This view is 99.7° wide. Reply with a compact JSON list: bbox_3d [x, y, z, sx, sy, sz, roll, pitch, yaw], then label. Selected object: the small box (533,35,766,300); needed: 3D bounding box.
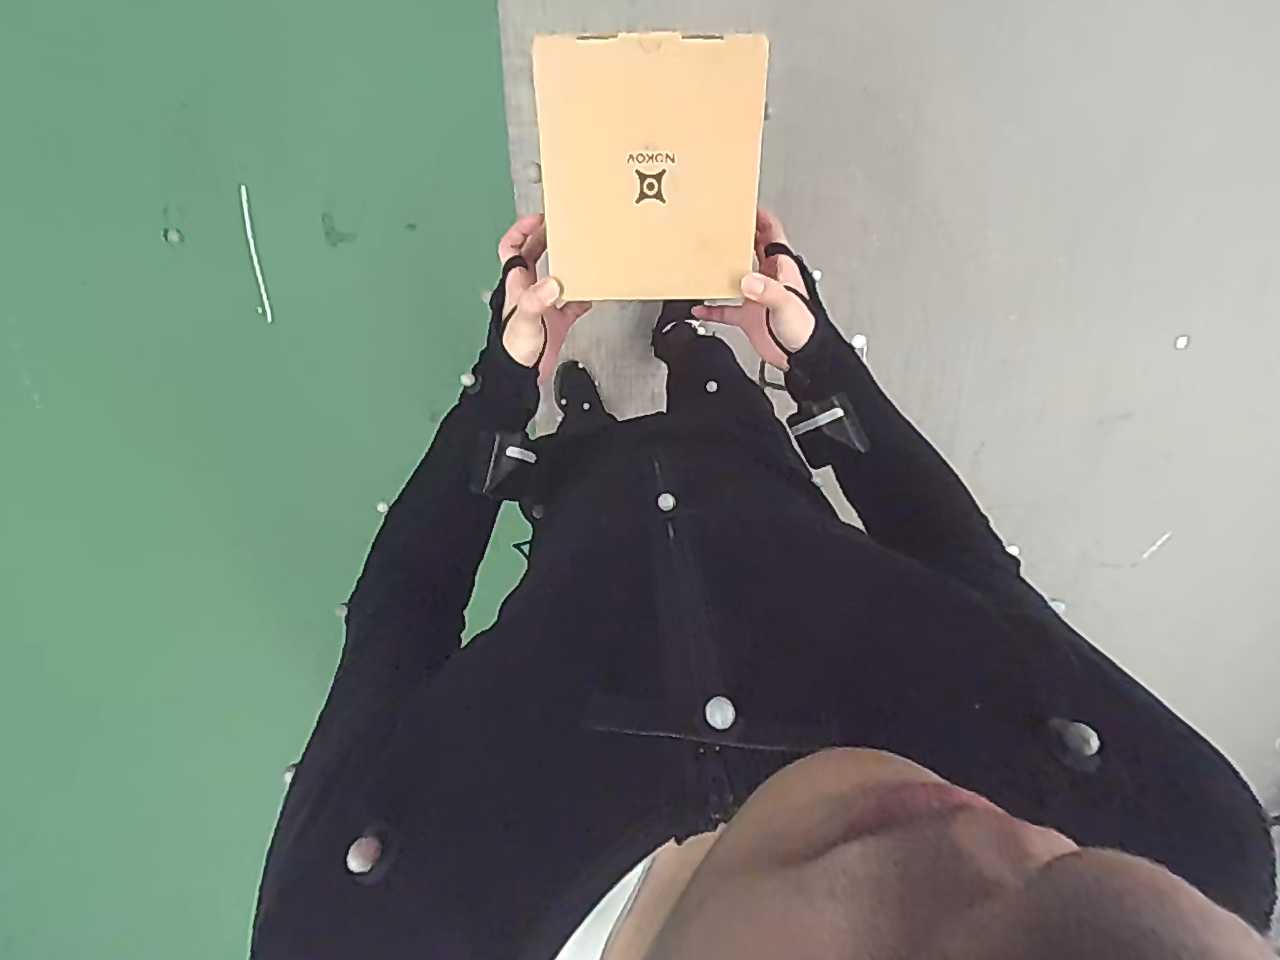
[{"bbox_3d":[0.006,-0.262,0.482,0.168,0.176,0.179,-1,114,-1],"label":"small box"}]
